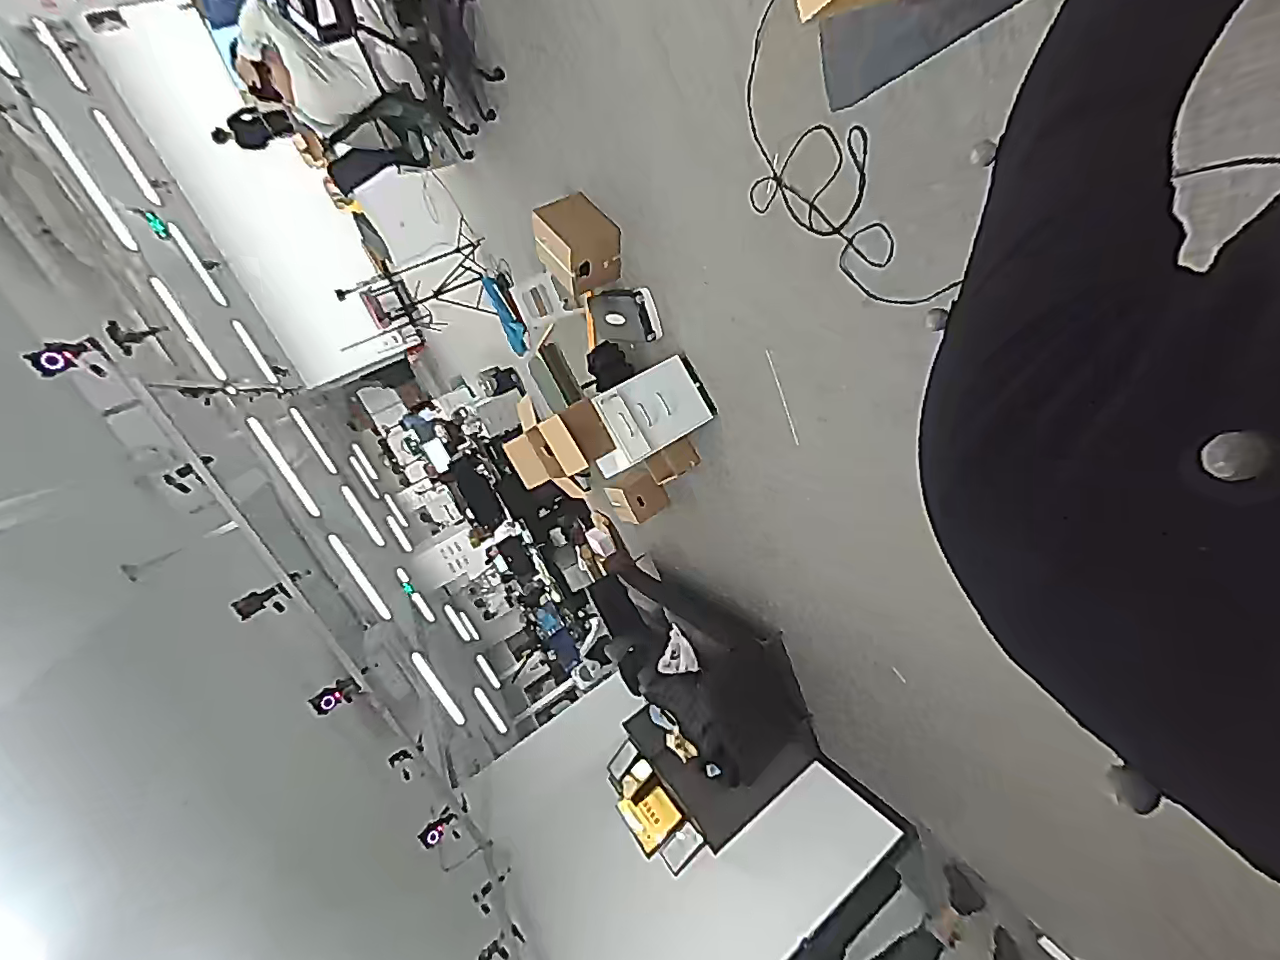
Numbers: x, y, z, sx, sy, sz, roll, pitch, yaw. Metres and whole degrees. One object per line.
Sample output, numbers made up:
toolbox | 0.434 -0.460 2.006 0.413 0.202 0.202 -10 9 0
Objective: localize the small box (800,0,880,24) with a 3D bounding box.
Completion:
small box | 0.262 -0.609 0.534 0.179 0.176 0.168 22 139 61
